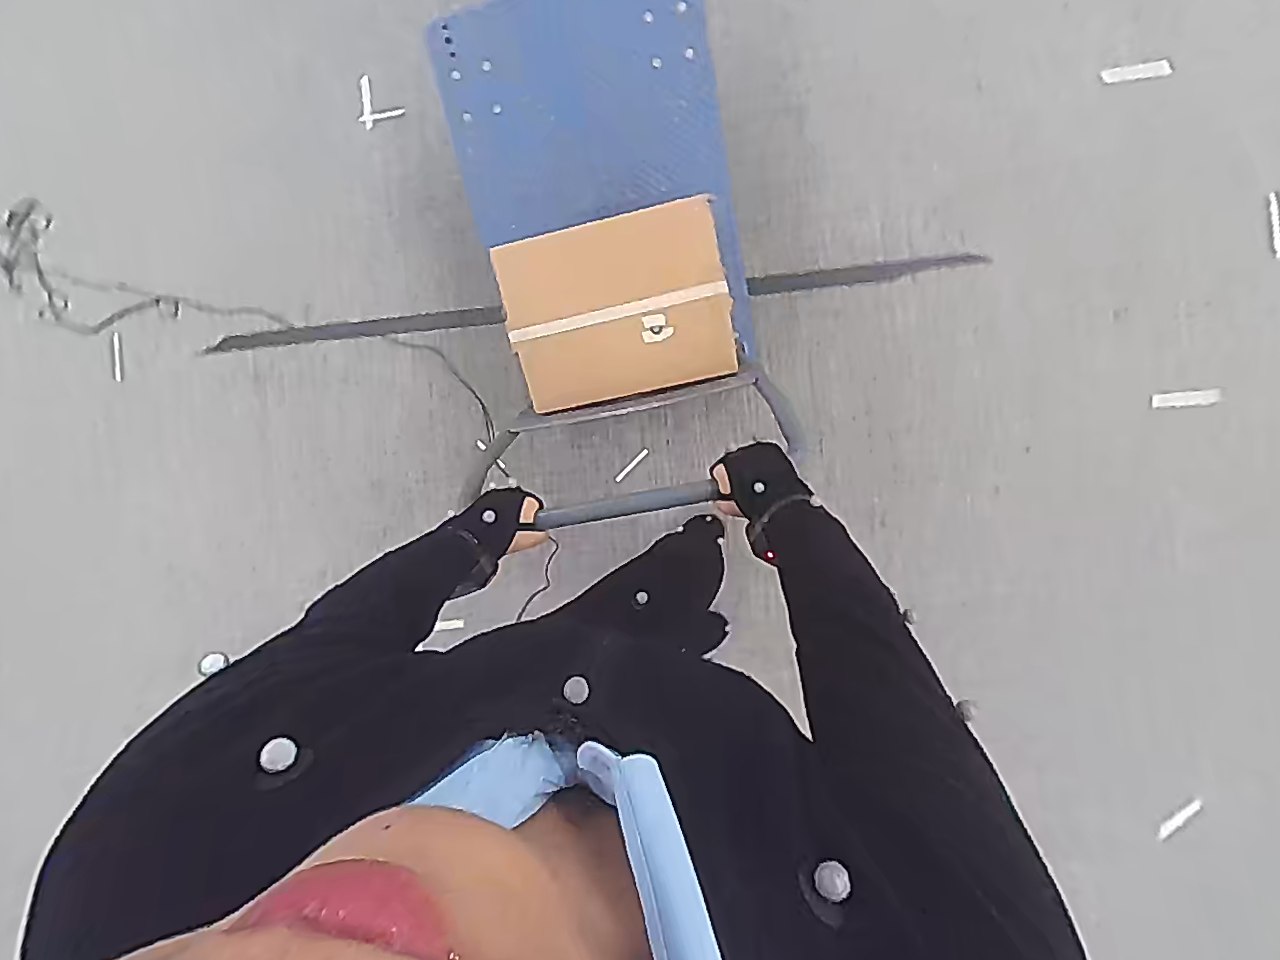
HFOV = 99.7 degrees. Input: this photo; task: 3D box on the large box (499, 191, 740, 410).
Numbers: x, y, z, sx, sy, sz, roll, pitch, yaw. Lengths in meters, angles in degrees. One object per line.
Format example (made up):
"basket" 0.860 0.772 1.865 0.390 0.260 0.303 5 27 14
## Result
"large box" -0.030 -0.366 1.152 0.408 0.320 0.320 -12 108 6
